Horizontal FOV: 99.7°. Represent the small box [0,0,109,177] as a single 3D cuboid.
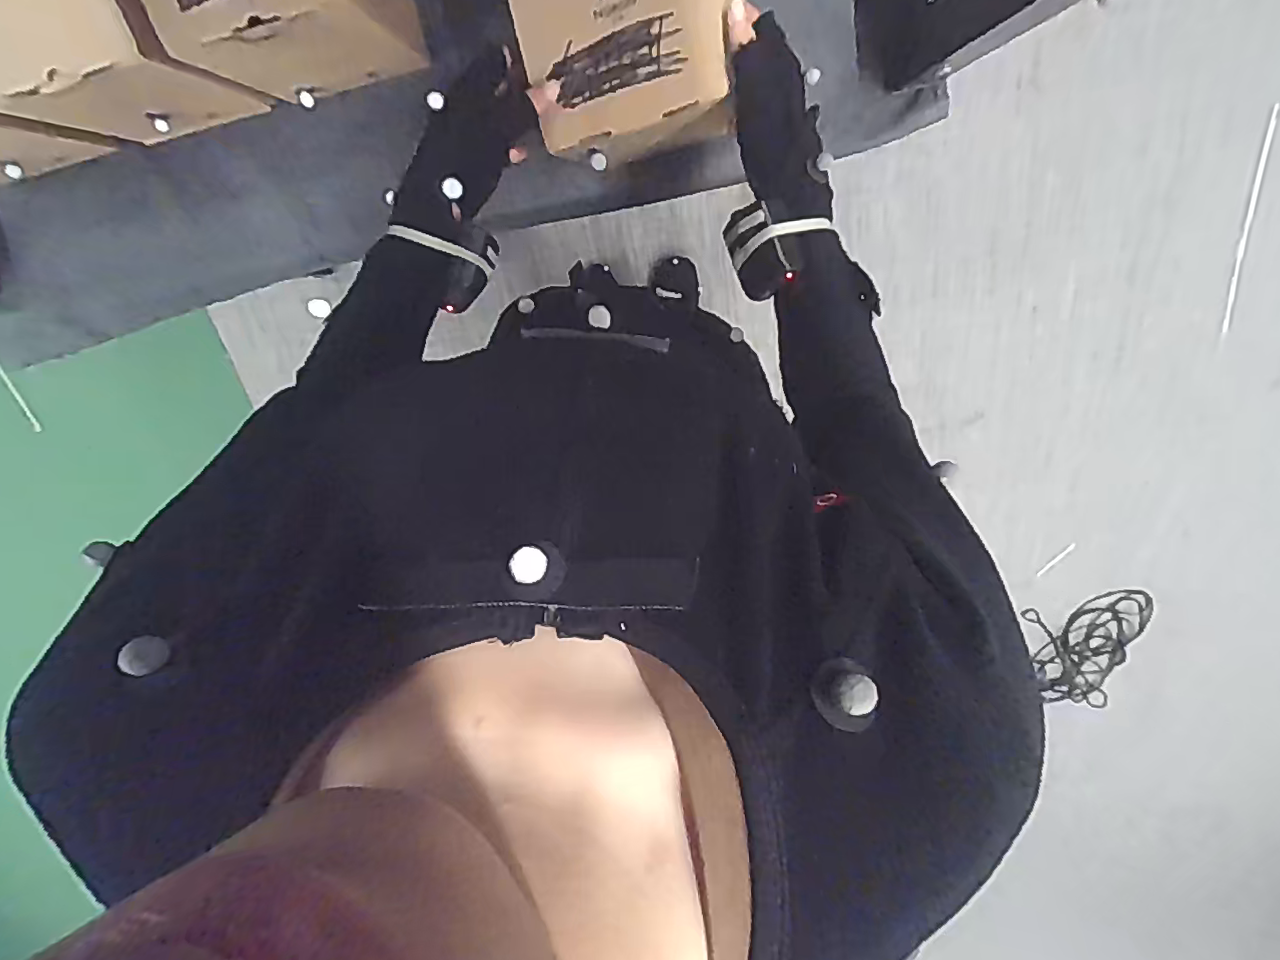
[{"bbox_3d":[-0.688,-0.409,0.510,0.168,0.176,0.179,-11,113,7],"label":"small box"}]
